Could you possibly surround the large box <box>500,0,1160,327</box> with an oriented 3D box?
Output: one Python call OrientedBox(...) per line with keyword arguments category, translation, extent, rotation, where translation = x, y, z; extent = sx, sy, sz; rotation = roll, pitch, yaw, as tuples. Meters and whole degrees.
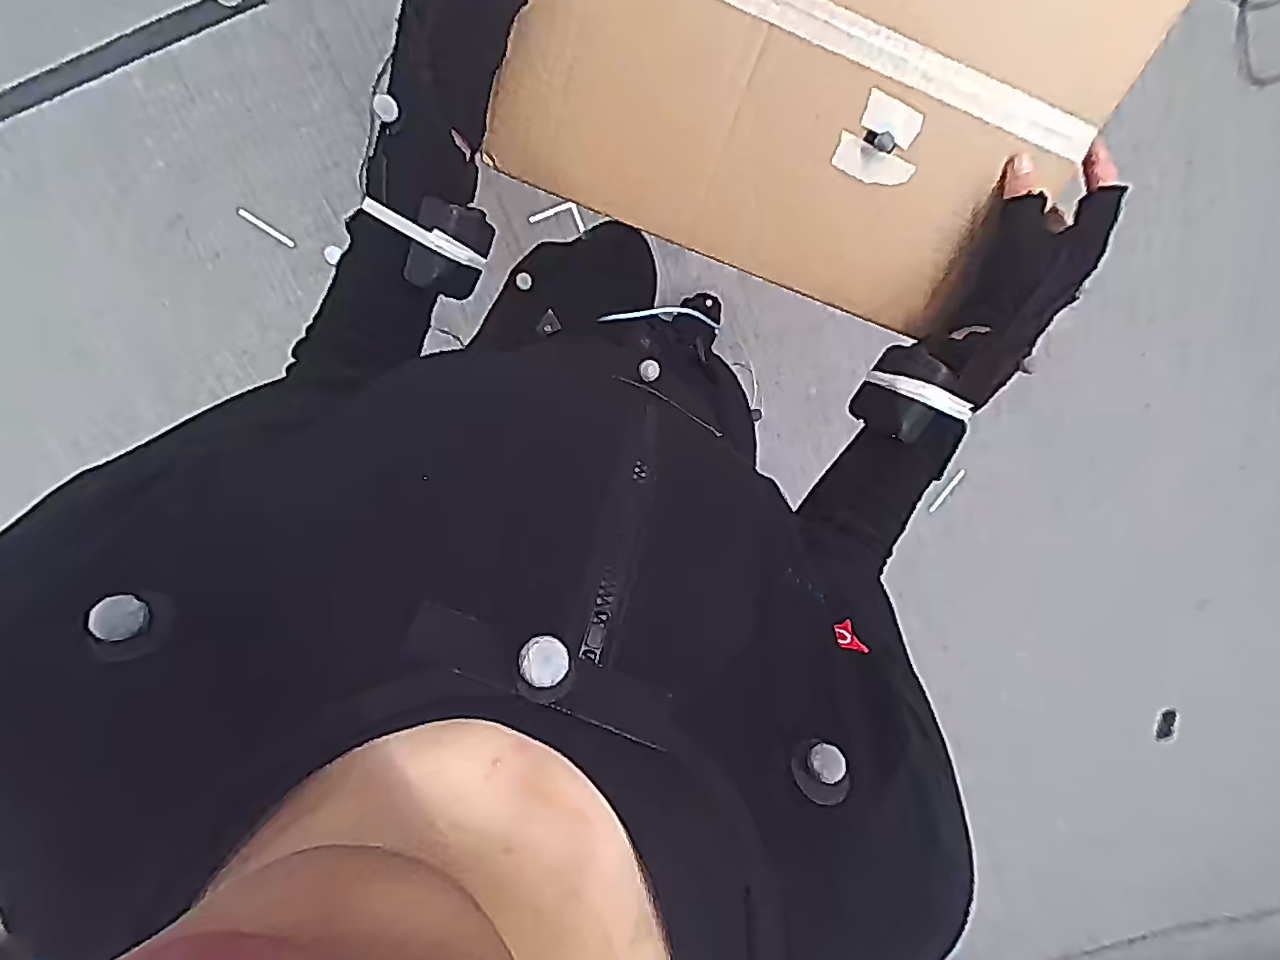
OrientedBox(category="large box", translation=(0.129, -0.389, 0.489), extent=(0.408, 0.320, 0.320), rotation=(18, 123, -8))
